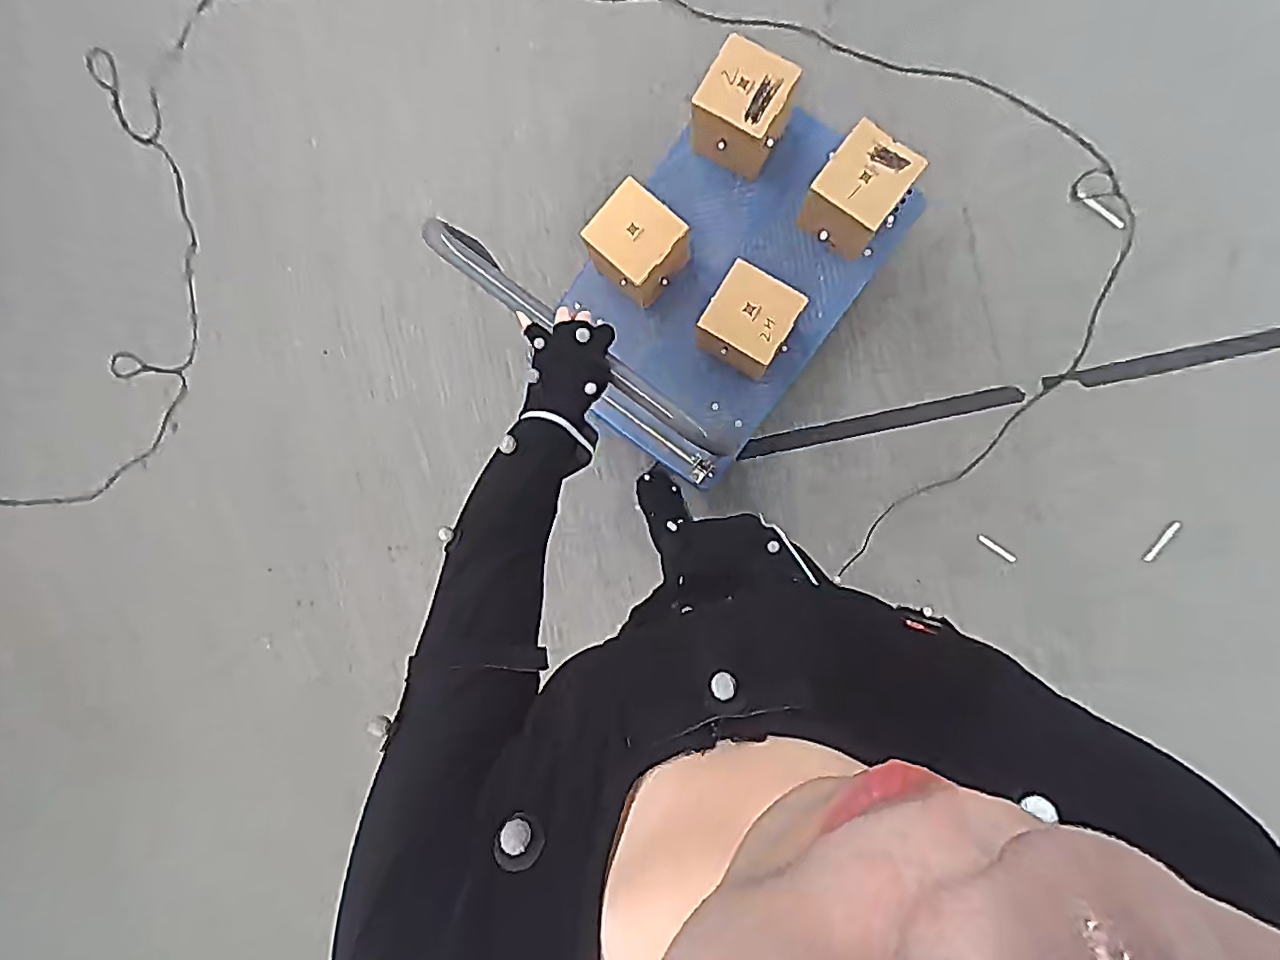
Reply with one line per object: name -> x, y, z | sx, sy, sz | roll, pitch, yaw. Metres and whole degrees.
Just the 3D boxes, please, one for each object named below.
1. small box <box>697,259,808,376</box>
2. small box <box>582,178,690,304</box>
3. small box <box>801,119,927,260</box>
small box -> 0.243, -0.351, 1.210 | 0.179, 0.176, 0.168 | 32, 94, 5
small box -> -0.005, -0.532, 1.235 | 0.179, 0.176, 0.168 | 41, 94, 3
small box -> 0.476, -0.625, 1.185 | 0.168, 0.176, 0.179 | 38, 95, 4
